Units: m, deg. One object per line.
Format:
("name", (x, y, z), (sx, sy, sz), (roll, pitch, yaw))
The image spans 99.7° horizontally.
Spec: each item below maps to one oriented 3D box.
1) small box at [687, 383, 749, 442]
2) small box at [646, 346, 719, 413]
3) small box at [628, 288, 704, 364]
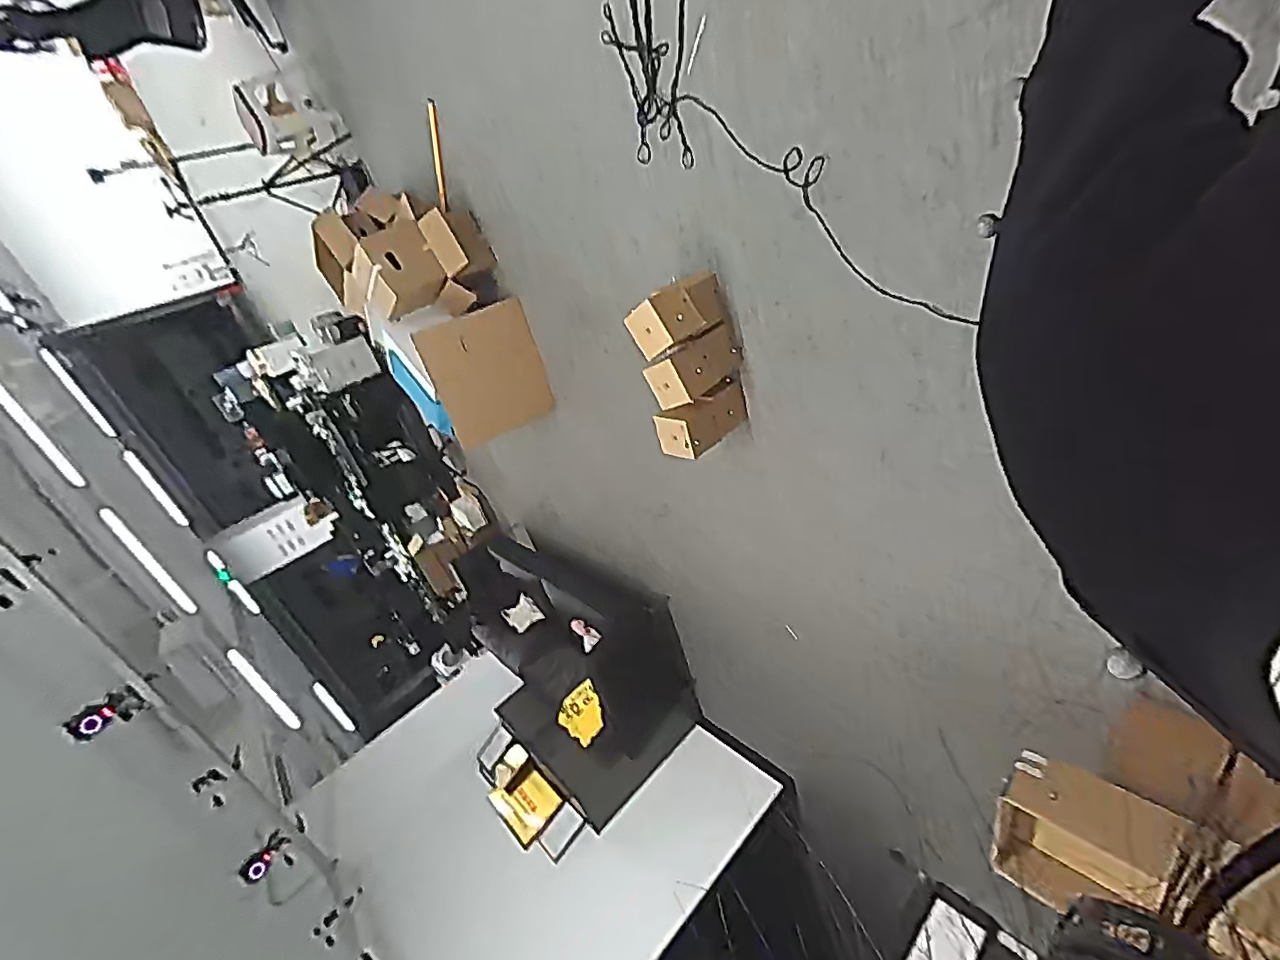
("small box", (0.310, -0.274, 2.143), (0.168, 0.176, 0.179), (17, 134, 48))
("small box", (0.160, -0.363, 1.943), (0.179, 0.176, 0.168), (-7, 114, 58))
("small box", (0.096, -0.531, 1.862), (0.168, 0.176, 0.179), (59, 151, -5))
